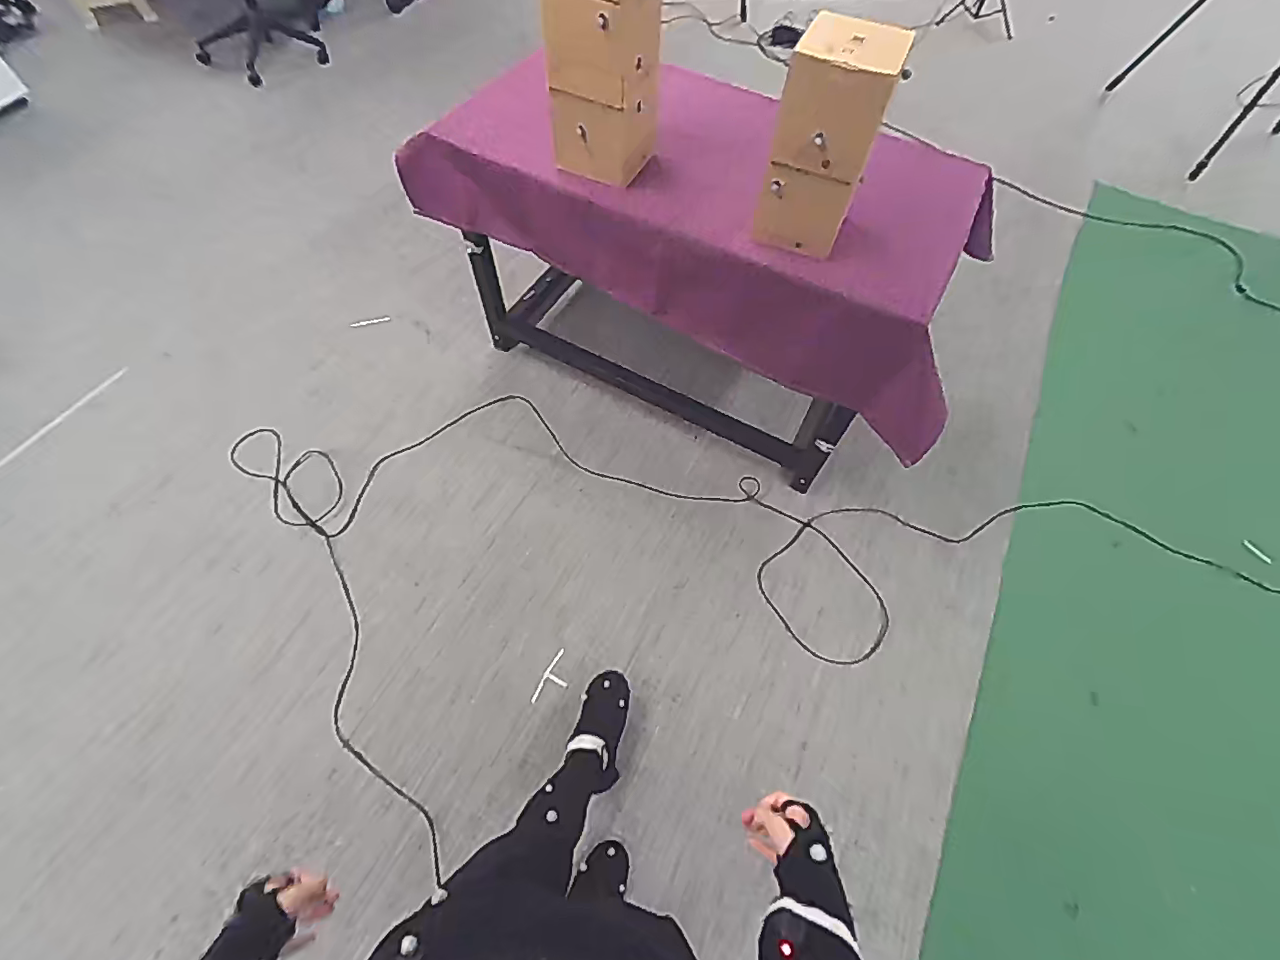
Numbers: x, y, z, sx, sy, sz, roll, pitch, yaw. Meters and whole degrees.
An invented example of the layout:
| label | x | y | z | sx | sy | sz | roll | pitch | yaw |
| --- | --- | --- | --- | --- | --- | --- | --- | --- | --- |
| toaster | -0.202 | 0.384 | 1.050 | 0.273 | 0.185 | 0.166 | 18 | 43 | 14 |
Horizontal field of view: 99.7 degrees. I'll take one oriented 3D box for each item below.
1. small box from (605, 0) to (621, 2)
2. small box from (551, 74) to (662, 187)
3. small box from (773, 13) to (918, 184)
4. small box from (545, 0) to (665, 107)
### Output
| label | x | y | z | sx | sy | sz | roll | pitch | yaw |
| --- | --- | --- | --- | --- | --- | --- | --- | --- | --- |
| small box | -0.058 | -0.928 | 0.886 | 0.168 | 0.176 | 0.179 | 27 | 62 | 11 |
| small box | -0.069 | -0.769 | 1.170 | 0.179 | 0.176 | 0.168 | 24 | 63 | 11 |
| small box | 0.344 | -0.651 | 0.928 | 0.168 | 0.176 | 0.179 | 23 | 62 | 11 |
| small box | -0.067 | -0.846 | 1.026 | 0.179 | 0.176 | 0.168 | 24 | 62 | 10 |
